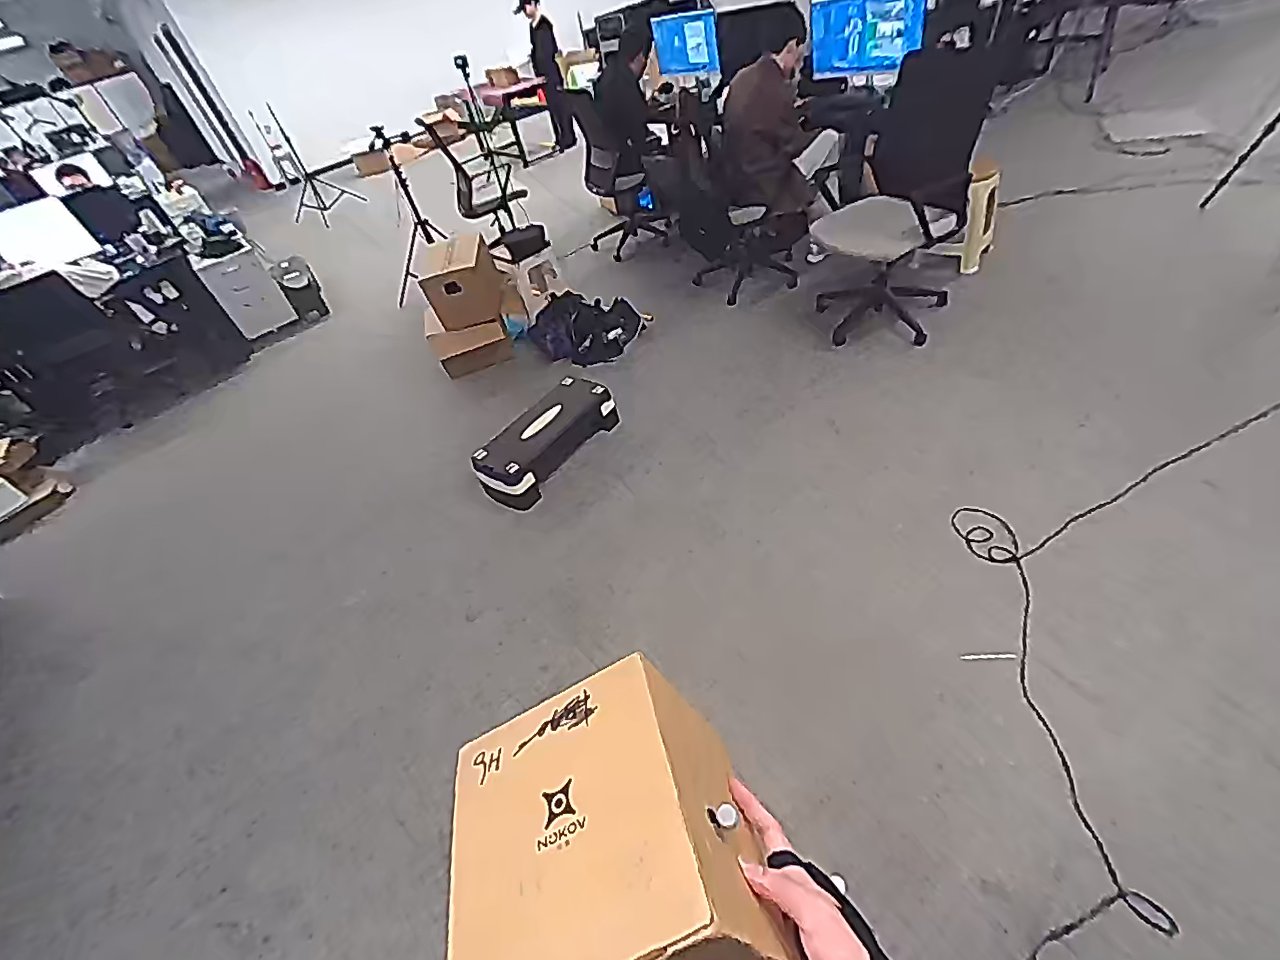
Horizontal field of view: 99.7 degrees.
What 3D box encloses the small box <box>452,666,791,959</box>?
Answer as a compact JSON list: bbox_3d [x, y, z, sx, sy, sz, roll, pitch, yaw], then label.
[{"bbox_3d":[-0.014,0.279,0.394,0.168,0.176,0.179,-30,37,4],"label":"small box"}]
